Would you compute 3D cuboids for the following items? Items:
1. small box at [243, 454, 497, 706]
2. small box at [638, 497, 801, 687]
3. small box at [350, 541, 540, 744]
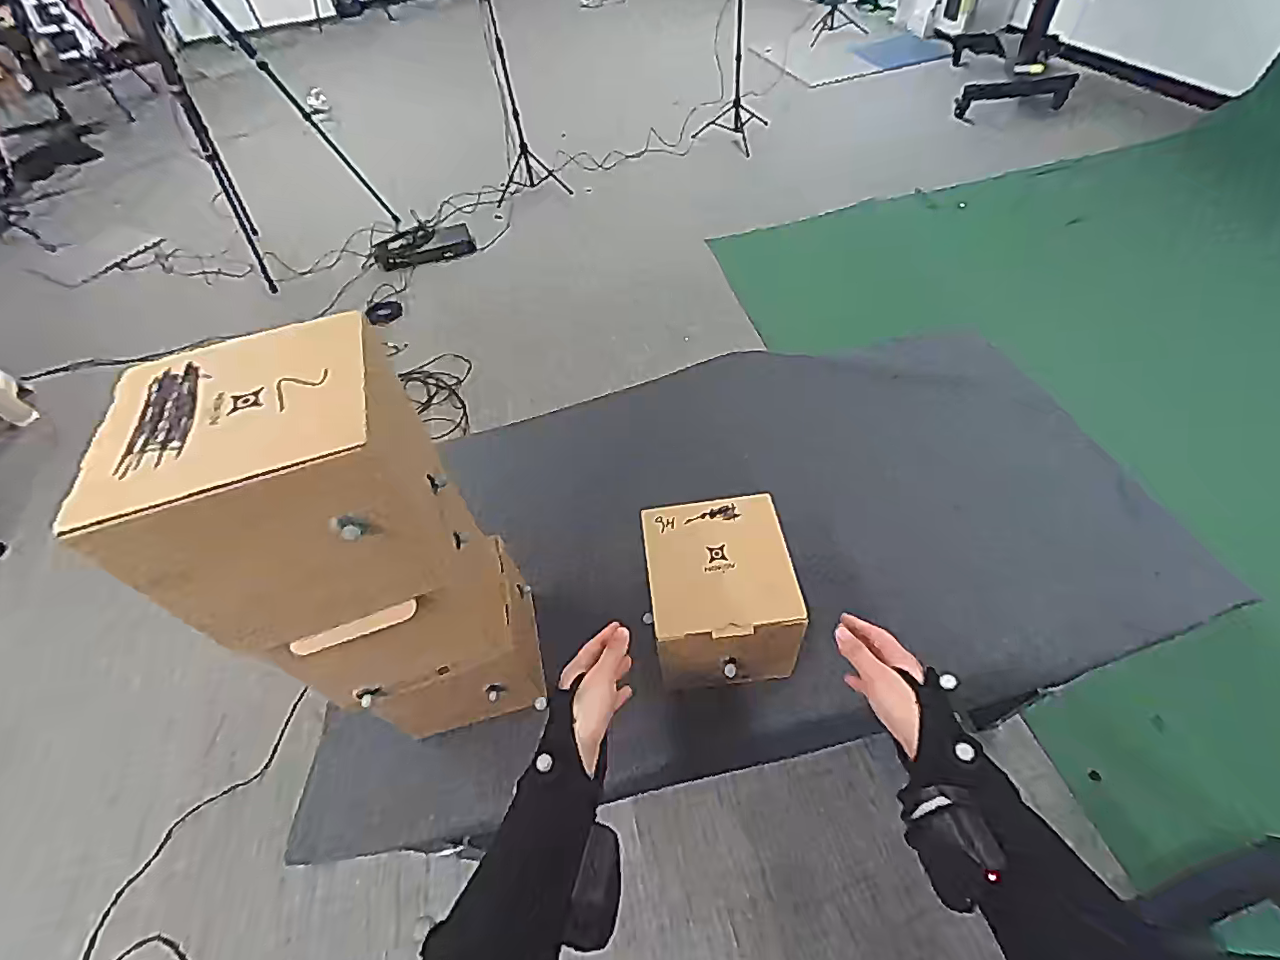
[{"bbox_3d":[-0.260,0.110,0.556,0.168,0.176,0.179,-19,49,-8],"label":"small box"},{"bbox_3d":[0.094,0.149,0.684,0.168,0.176,0.179,-8,51,2],"label":"small box"},{"bbox_3d":[-0.233,0.209,0.685,0.179,0.176,0.168,-17,50,-4],"label":"small box"}]
